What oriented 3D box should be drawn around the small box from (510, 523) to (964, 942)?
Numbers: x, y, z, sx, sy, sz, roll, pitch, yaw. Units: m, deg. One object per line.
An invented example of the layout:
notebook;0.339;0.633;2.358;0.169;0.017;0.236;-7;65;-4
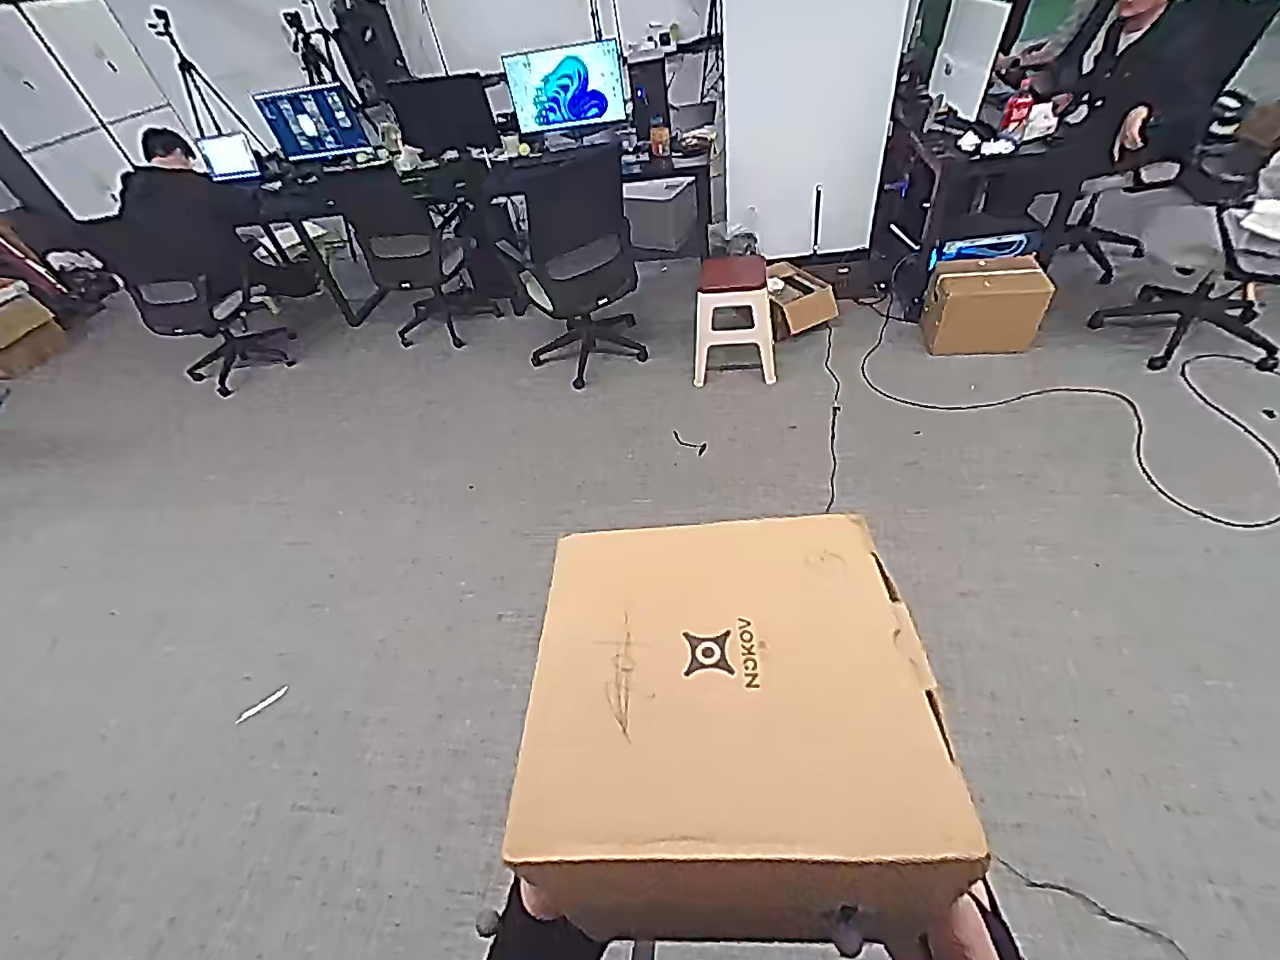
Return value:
small box;0.046;0.147;0.316;0.179;0.176;0.168;-6;40;6
